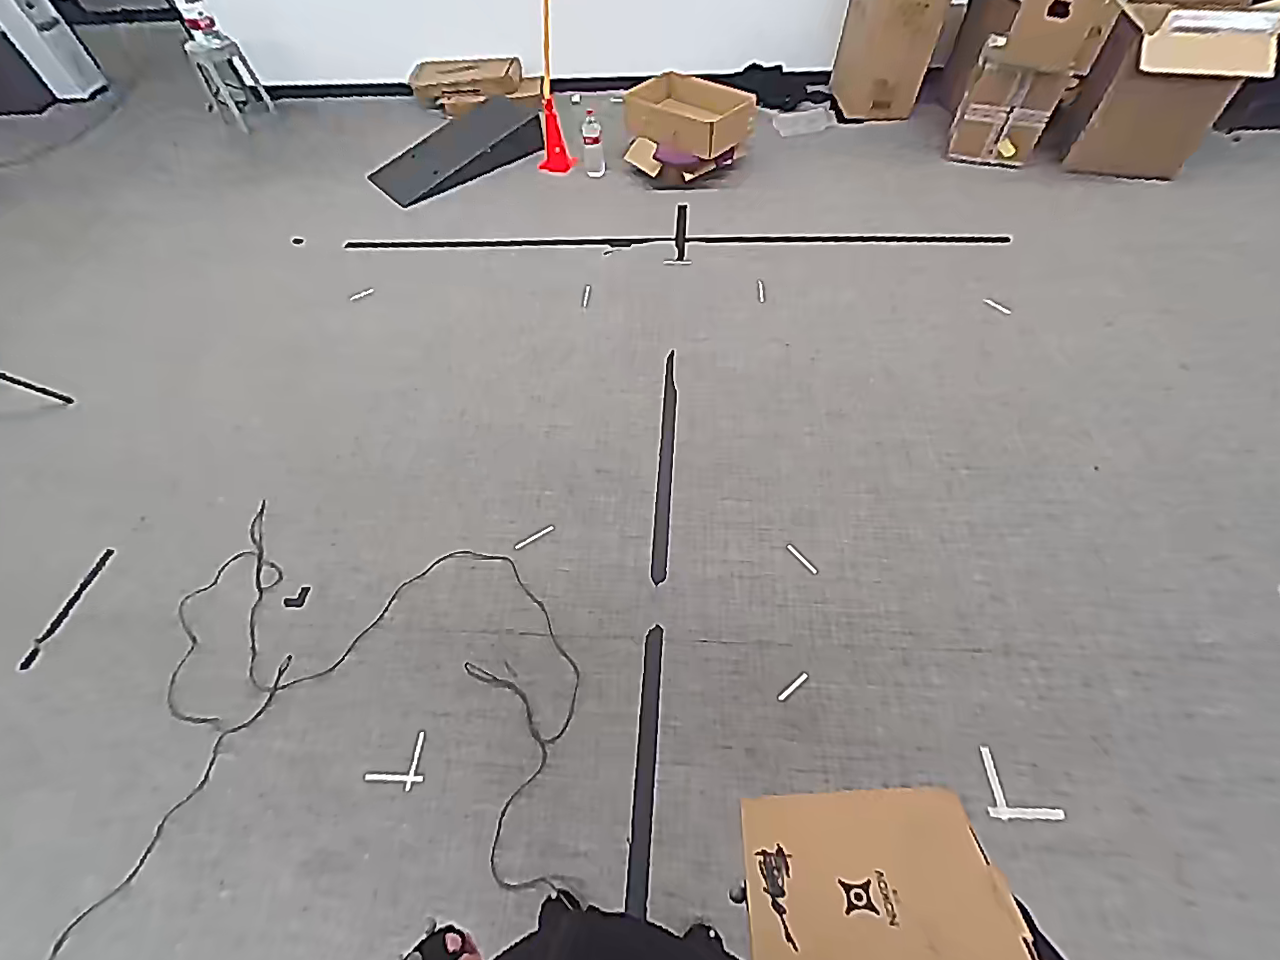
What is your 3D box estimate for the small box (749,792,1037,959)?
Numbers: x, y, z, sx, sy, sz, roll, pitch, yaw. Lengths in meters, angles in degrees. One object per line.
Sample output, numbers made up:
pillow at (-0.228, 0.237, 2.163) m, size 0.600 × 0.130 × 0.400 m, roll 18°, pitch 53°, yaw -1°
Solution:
small box at (0.185, 0.375, 0.418) m, size 0.179 × 0.176 × 0.168 m, roll -8°, pitch 20°, yaw 10°
